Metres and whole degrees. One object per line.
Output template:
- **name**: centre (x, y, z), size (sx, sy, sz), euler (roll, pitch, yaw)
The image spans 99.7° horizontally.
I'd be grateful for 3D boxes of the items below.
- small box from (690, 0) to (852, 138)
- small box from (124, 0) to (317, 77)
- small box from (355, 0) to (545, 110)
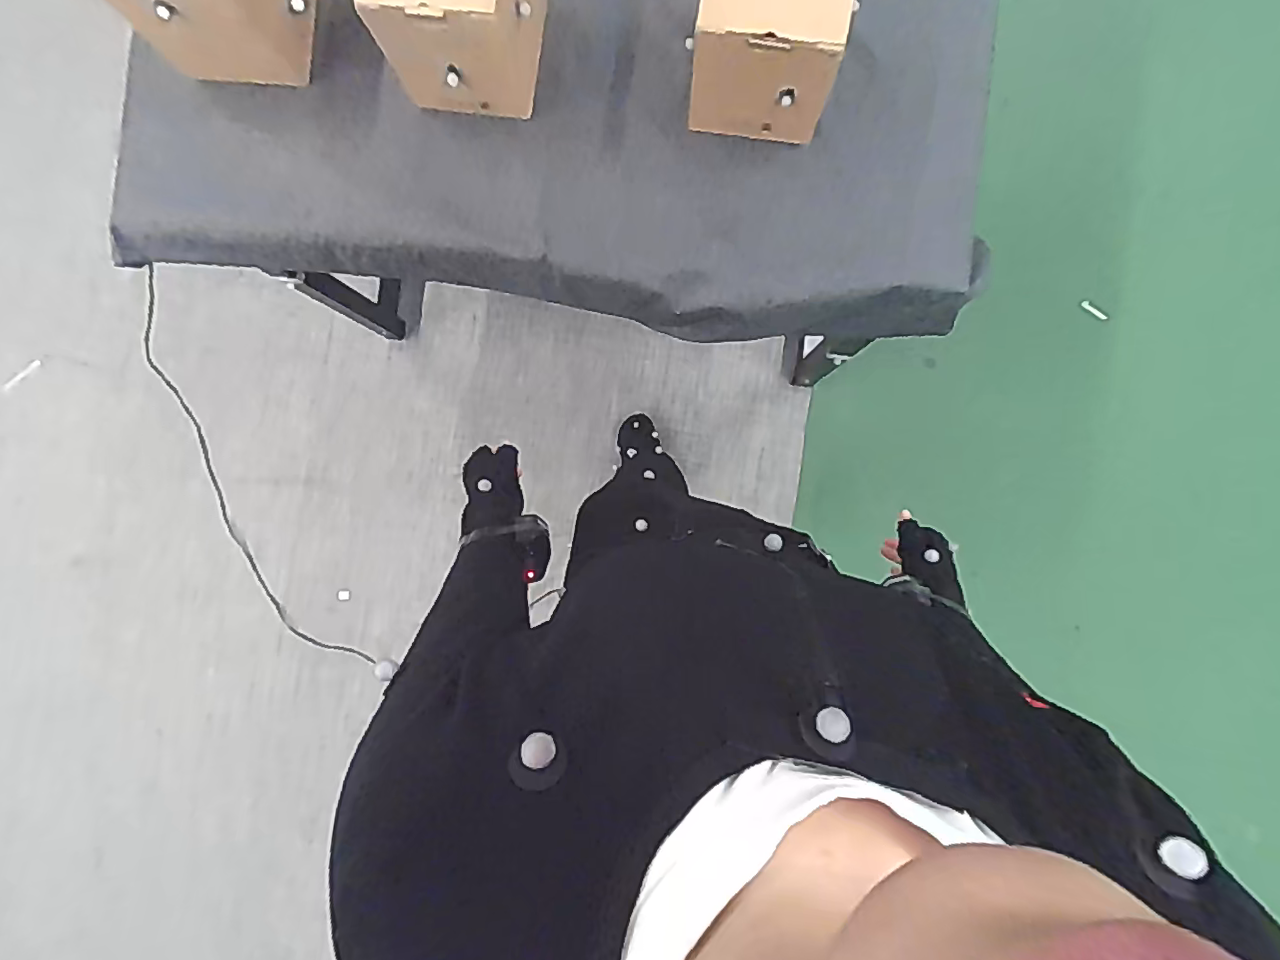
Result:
- **small box**: centre (0.156, -0.561, 0.663), size (0.168, 0.176, 0.179), euler (9, 88, 2)
- **small box**: centre (-0.551, -0.658, 0.690), size (0.179, 0.176, 0.168), euler (5, 90, 1)
- **small box**: centre (-0.223, -0.607, 0.678), size (0.168, 0.176, 0.179), euler (8, 90, 2)
